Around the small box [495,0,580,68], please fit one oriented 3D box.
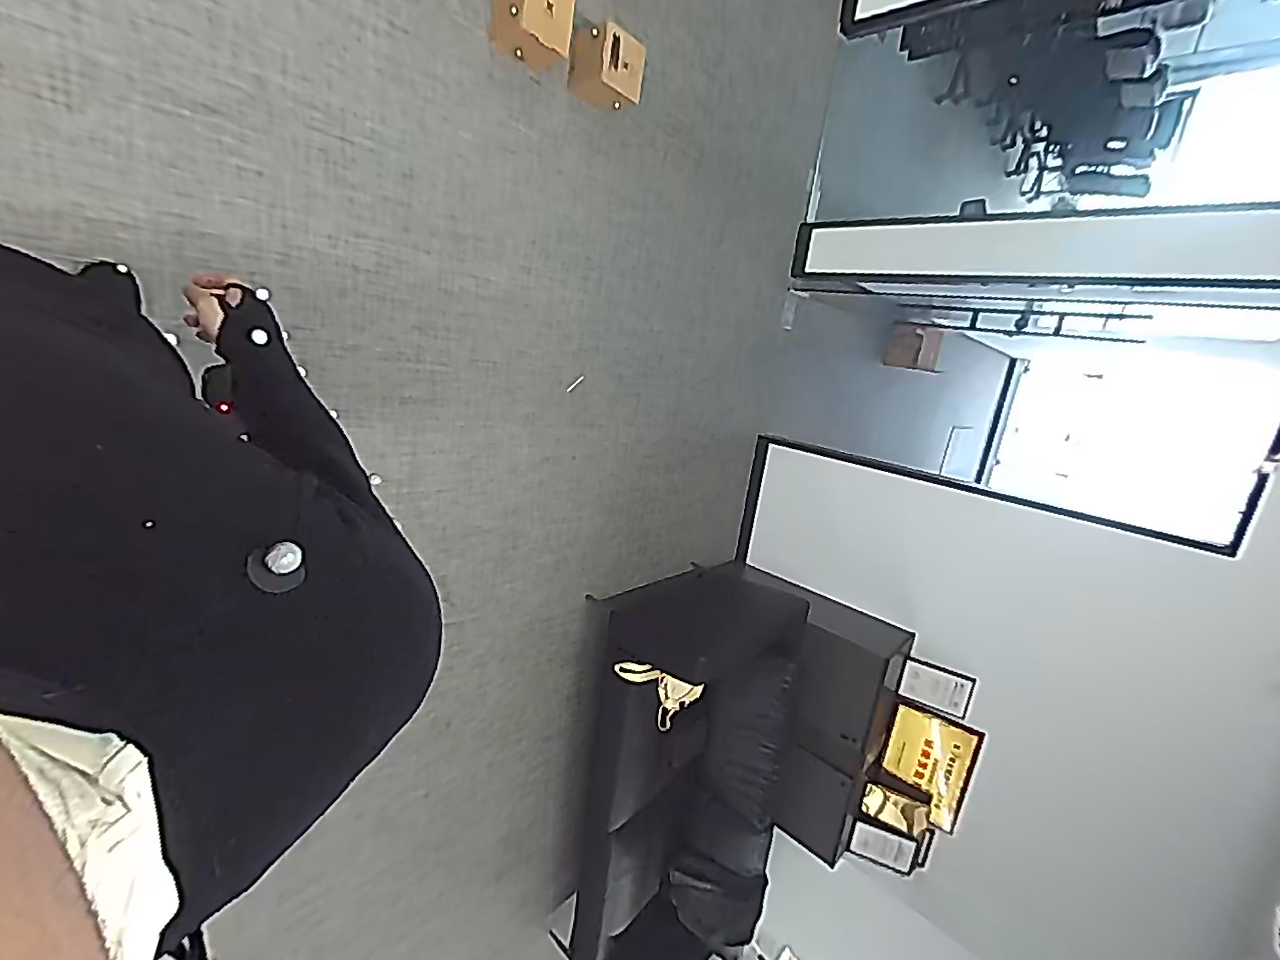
[{"bbox_3d":[-0.297,-1.330,1.549,0.168,0.176,0.179,-3,109,-47],"label":"small box"}]
